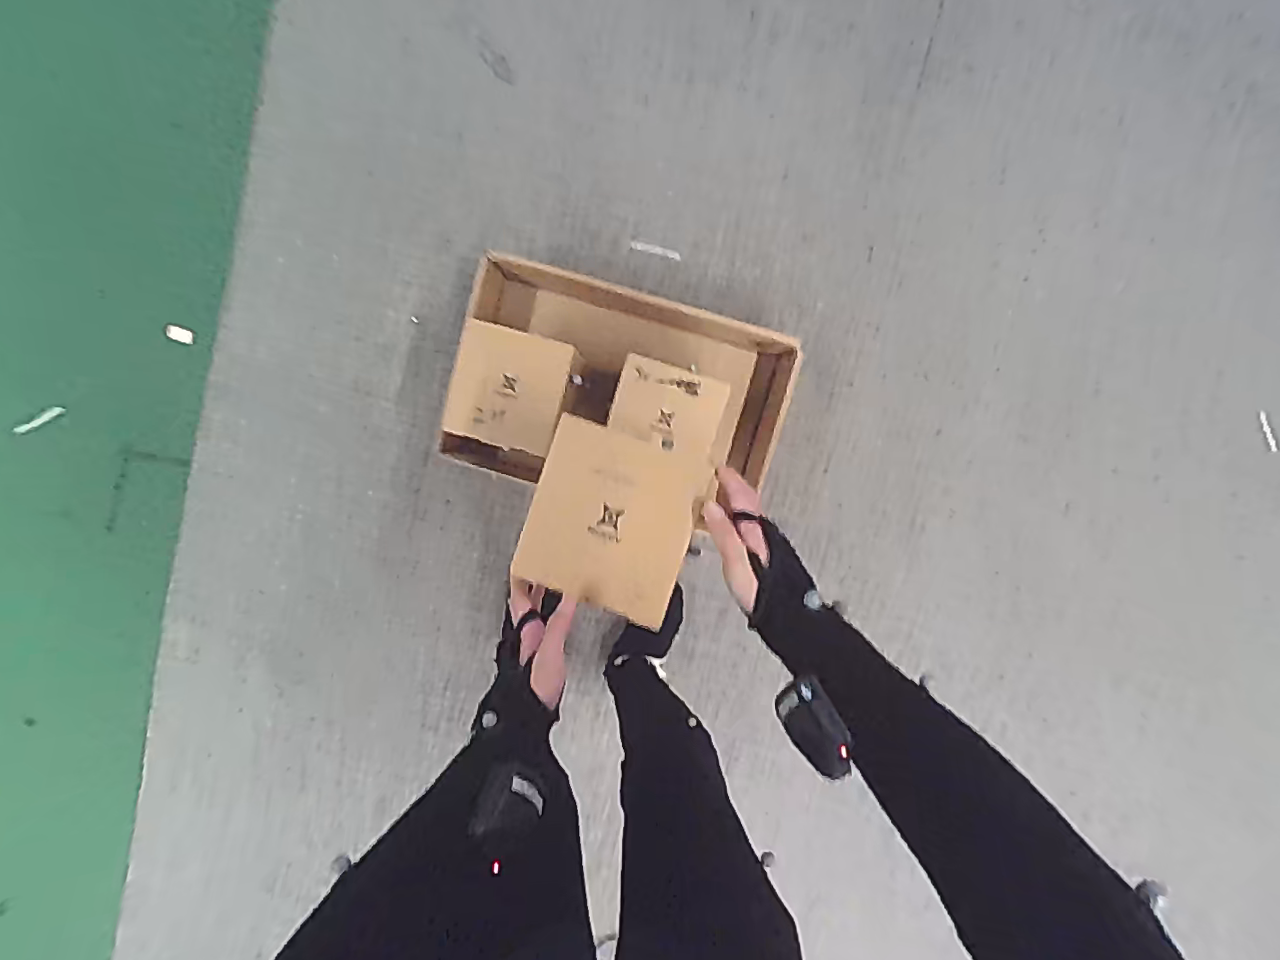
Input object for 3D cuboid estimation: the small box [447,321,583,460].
[{"bbox_3d":[-0.195,-0.142,0.897,0.168,0.176,0.179,15,95,-2],"label":"small box"}]
